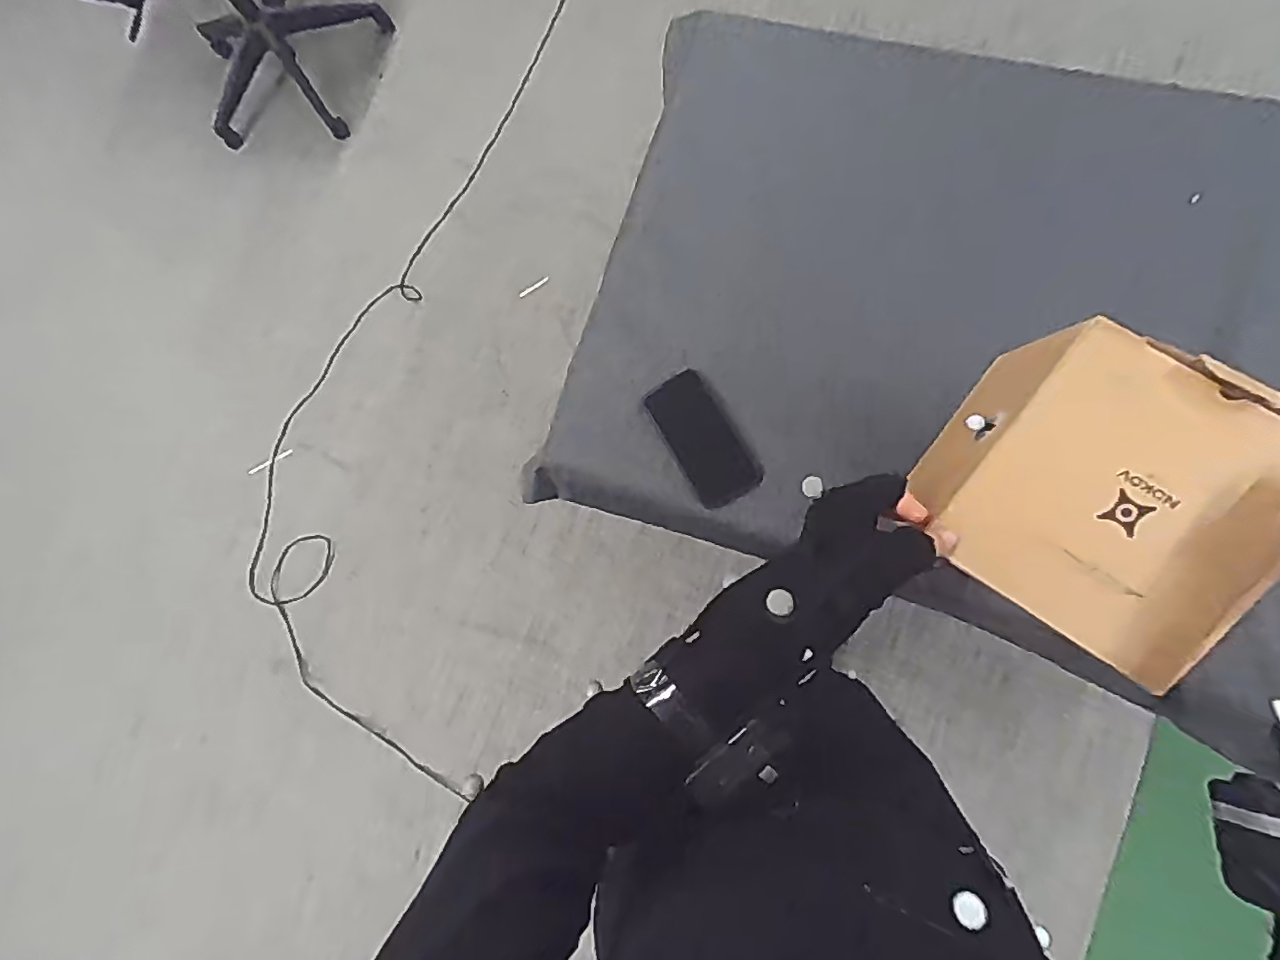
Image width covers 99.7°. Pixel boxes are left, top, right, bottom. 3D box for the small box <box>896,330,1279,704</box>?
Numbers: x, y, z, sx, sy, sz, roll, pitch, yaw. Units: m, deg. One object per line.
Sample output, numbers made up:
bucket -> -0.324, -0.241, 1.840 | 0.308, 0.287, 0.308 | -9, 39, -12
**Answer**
small box -> 0.320, 0.019, 0.406 | 0.168, 0.176, 0.179 | 35, 102, 13
